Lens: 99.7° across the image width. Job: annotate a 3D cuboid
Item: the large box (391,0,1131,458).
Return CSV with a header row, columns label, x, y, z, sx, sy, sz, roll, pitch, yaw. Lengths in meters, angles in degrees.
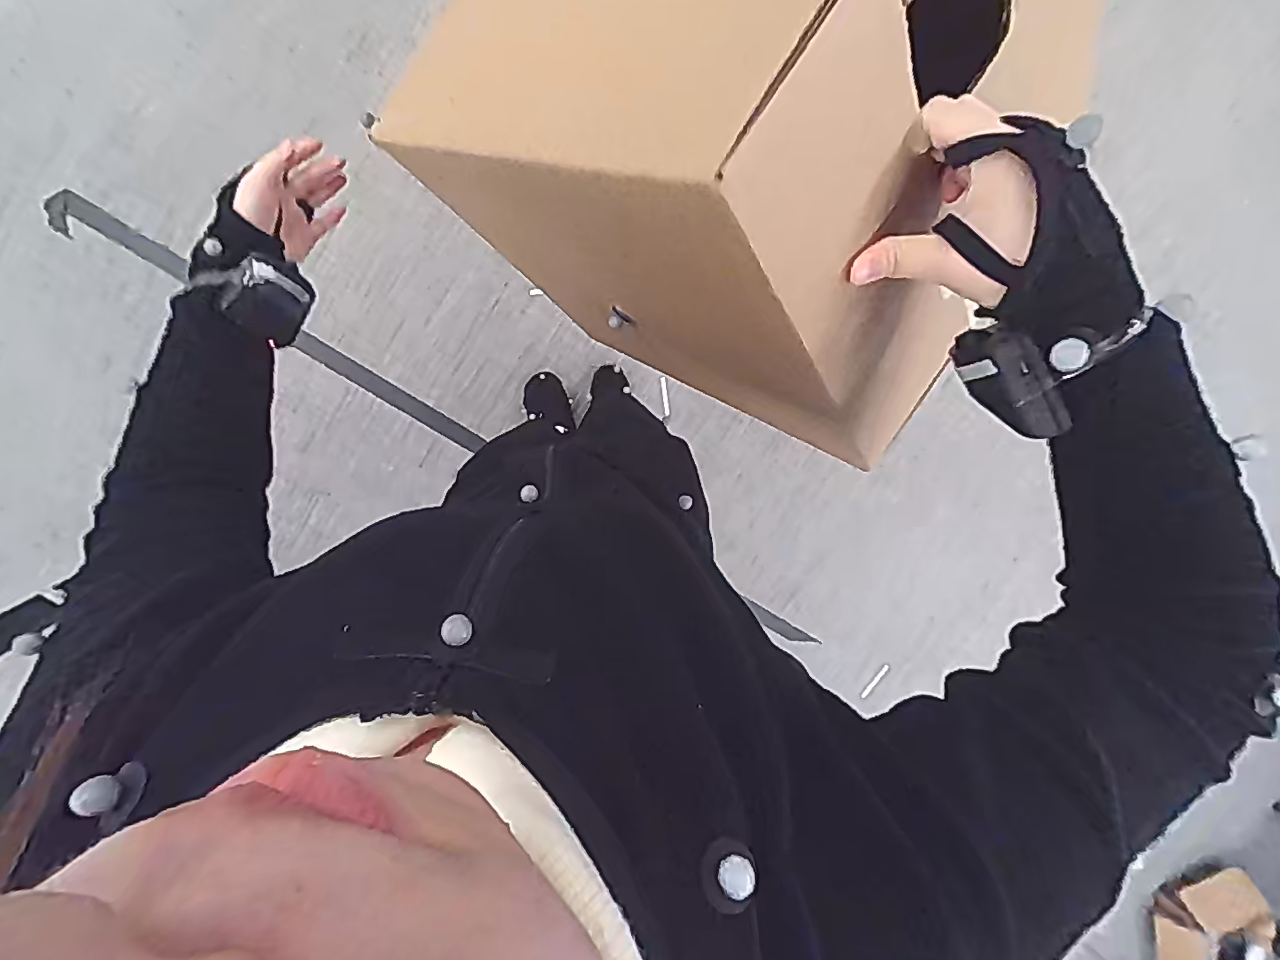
label,x,y,z,sx,sy,sz,roll,pitch,yaw
large box,0.080,-0.269,0.435,0.320,0.408,0.320,-56,139,1
